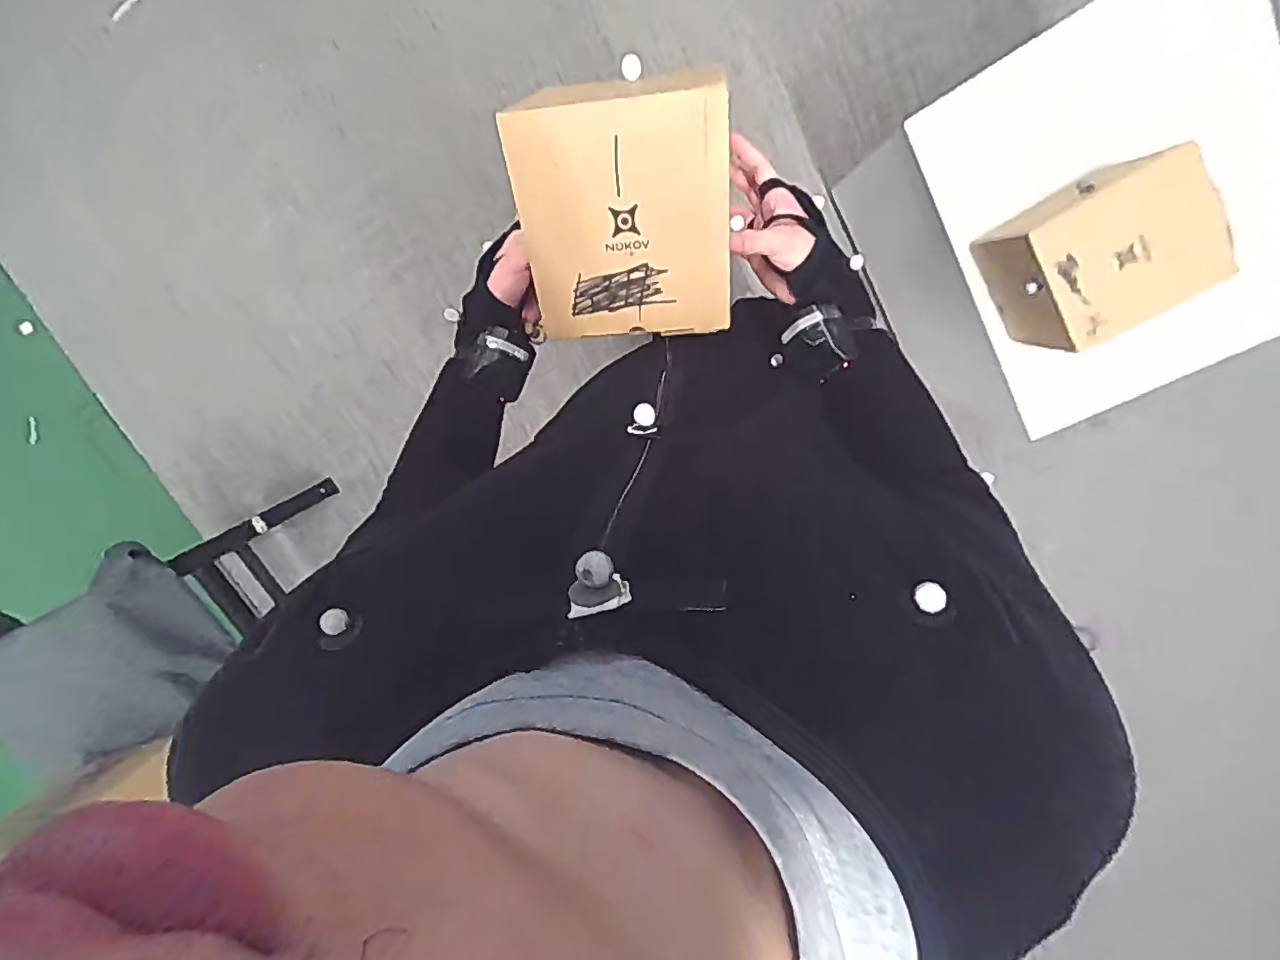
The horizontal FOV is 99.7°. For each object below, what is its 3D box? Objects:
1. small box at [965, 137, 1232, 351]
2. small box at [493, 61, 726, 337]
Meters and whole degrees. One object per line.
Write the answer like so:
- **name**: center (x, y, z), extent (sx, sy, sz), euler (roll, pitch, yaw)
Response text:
- **small box**: center (0.565, -0.288, 0.691), extent (0.179, 0.176, 0.168), euler (-30, 102, 15)
- **small box**: center (-0.008, -0.250, 0.484), extent (0.168, 0.176, 0.179), euler (-3, 130, 7)
